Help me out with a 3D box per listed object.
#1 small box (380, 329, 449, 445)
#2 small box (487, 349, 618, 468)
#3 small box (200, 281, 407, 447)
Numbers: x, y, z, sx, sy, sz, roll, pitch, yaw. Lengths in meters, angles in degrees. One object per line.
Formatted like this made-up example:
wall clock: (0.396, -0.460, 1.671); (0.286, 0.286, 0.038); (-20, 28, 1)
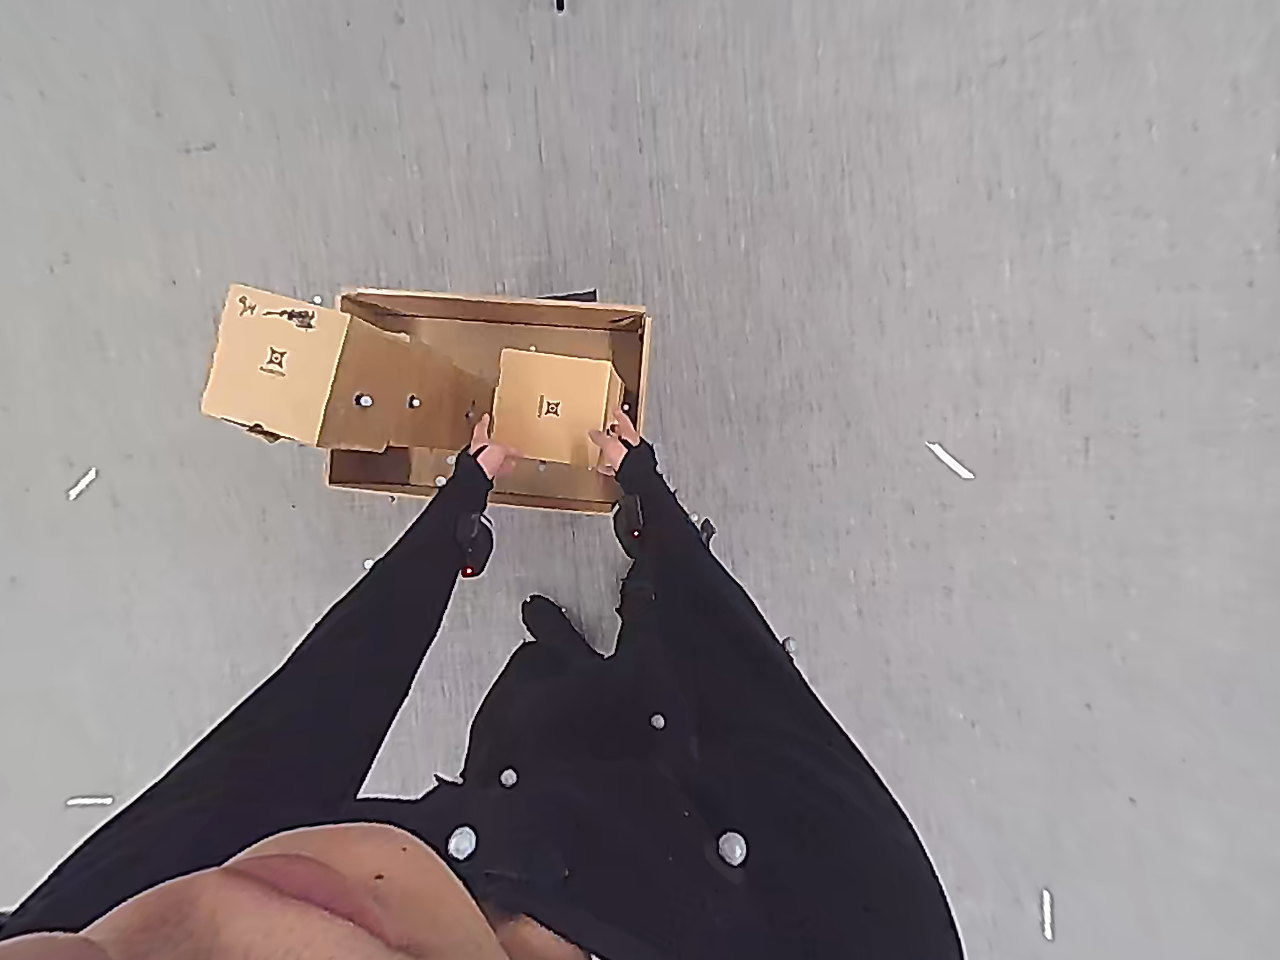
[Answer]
small box: (-0.449, -0.160, 0.928); (0.168, 0.176, 0.179); (13, 91, 3)
small box: (-0.137, -0.113, 0.911); (0.179, 0.176, 0.168); (7, 91, 4)
small box: (-0.459, -0.150, 0.764); (0.168, 0.176, 0.179); (16, 93, 3)
